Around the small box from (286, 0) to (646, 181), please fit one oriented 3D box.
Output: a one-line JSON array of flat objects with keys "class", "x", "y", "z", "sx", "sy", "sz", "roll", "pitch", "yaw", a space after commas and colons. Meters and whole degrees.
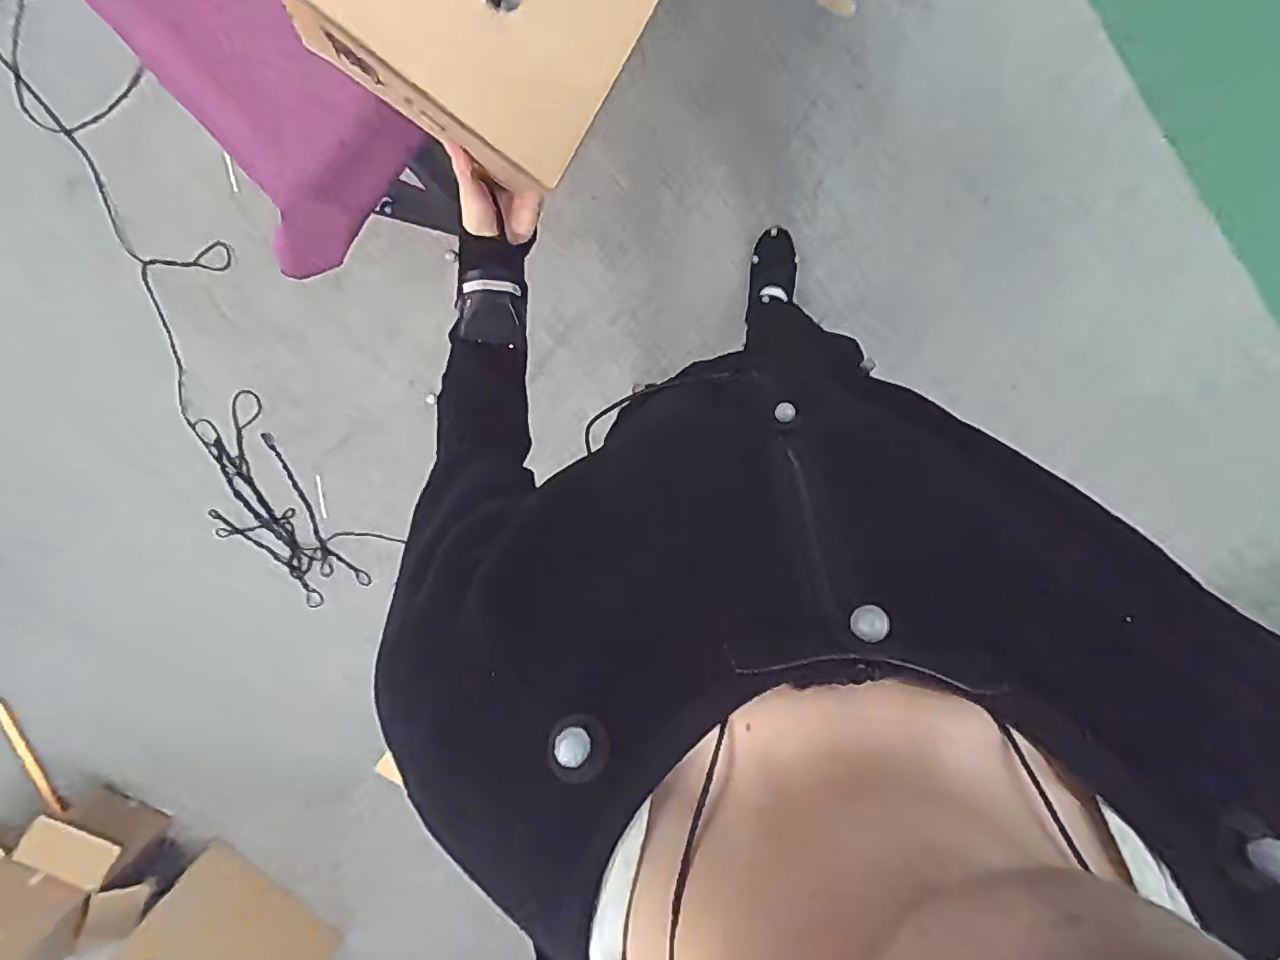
[{"class": "small box", "x": -0.111, "y": -0.335, "z": 0.360, "sx": 0.179, "sy": 0.168, "sz": 0.176, "roll": 24, "pitch": 103, "yaw": -34}]
